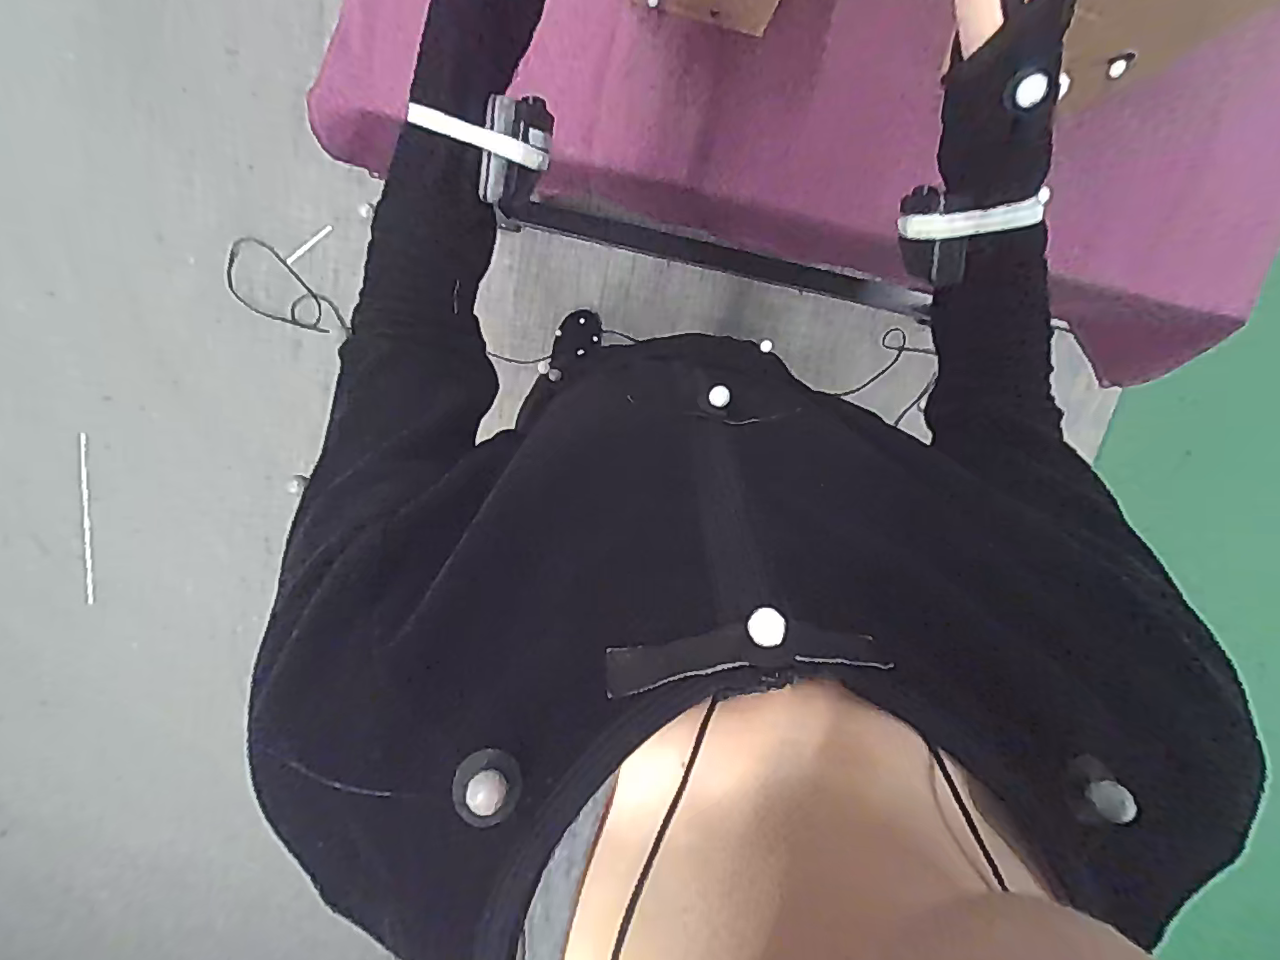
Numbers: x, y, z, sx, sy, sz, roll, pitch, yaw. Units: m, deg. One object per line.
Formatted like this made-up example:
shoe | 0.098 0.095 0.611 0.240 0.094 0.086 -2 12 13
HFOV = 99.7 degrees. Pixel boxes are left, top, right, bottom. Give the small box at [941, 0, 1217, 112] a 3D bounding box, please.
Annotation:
small box | 0.469 -0.528 0.576 0.179 0.176 0.168 11 102 -6

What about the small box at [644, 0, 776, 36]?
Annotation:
small box | 0.084 -0.599 0.540 0.168 0.176 0.179 10 102 -6
